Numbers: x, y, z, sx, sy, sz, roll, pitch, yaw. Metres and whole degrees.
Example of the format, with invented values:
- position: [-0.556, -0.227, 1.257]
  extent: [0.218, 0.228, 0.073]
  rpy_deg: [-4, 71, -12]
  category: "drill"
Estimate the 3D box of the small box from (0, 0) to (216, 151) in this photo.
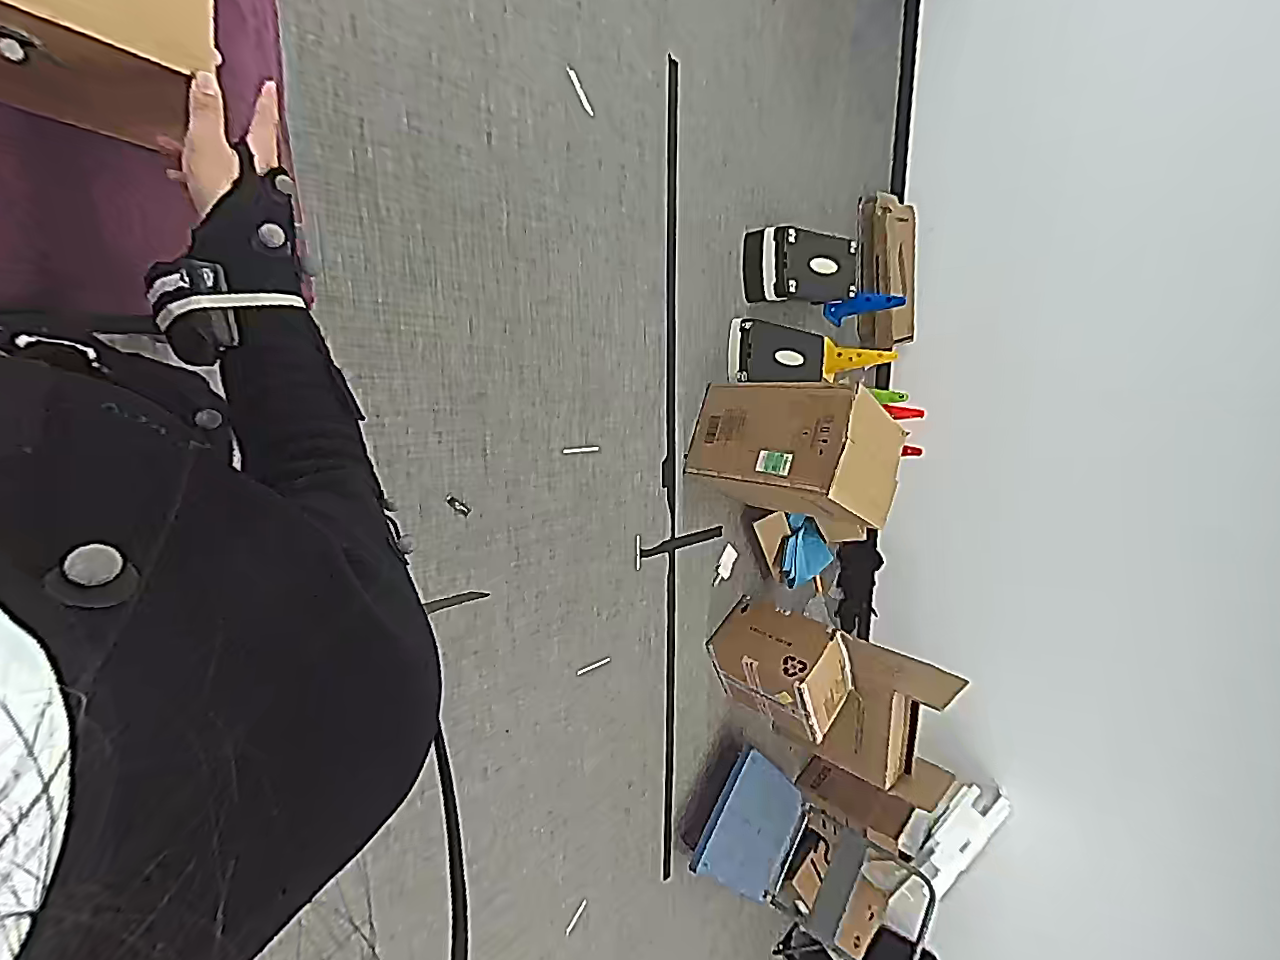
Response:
- position: [-0.416, -0.366, 0.376]
  extent: [0.179, 0.176, 0.168]
  rpy_deg: [-1, 97, -46]
  category: "small box"
